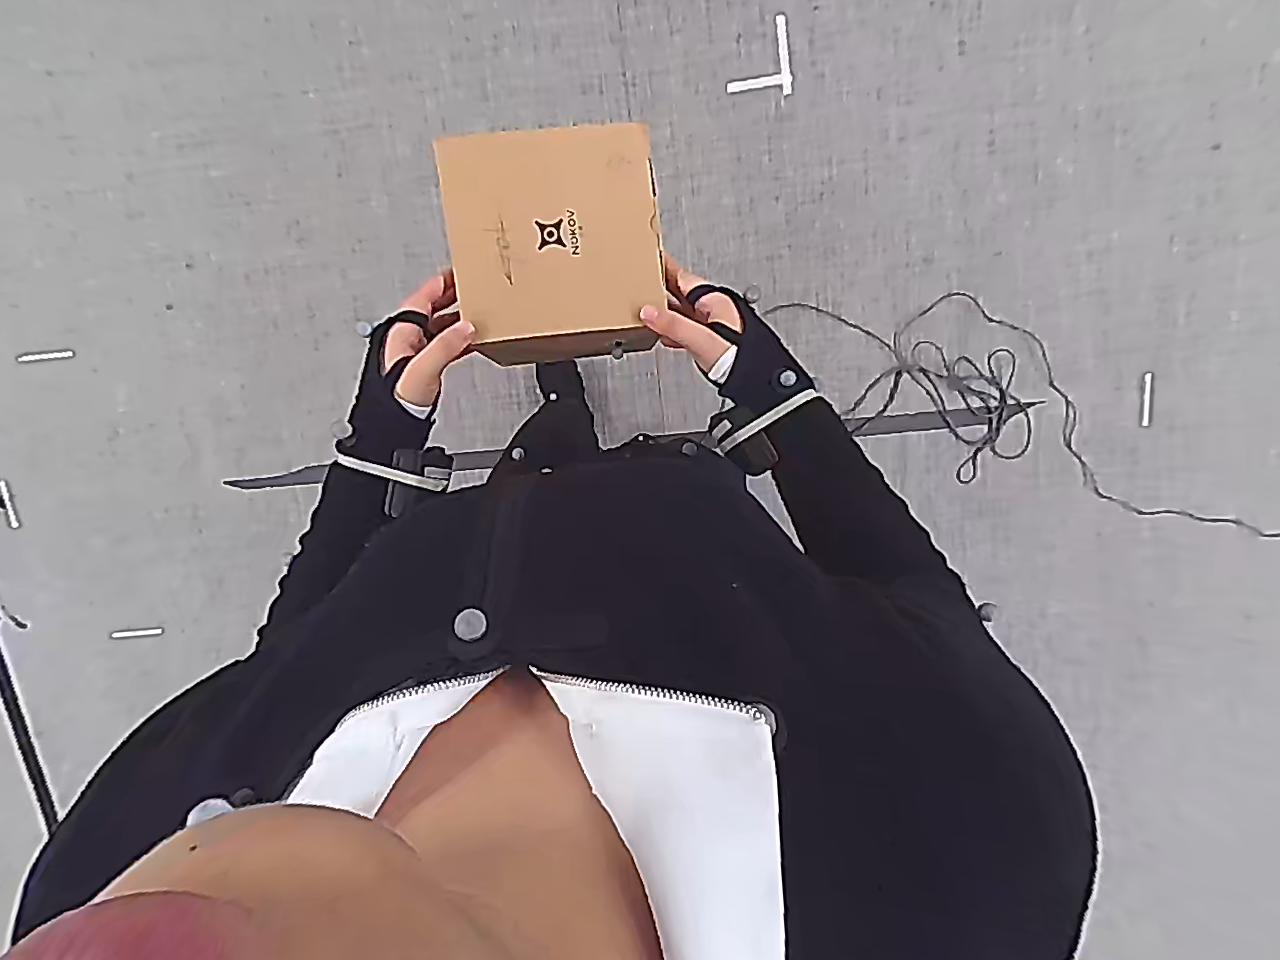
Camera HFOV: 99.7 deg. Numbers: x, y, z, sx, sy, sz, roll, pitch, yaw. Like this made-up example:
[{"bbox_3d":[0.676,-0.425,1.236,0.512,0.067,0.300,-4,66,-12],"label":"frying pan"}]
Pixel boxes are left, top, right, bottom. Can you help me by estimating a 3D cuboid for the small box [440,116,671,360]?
[{"bbox_3d":[-0.074,-0.219,0.531,0.179,0.176,0.168,-8,94,-3],"label":"small box"}]
